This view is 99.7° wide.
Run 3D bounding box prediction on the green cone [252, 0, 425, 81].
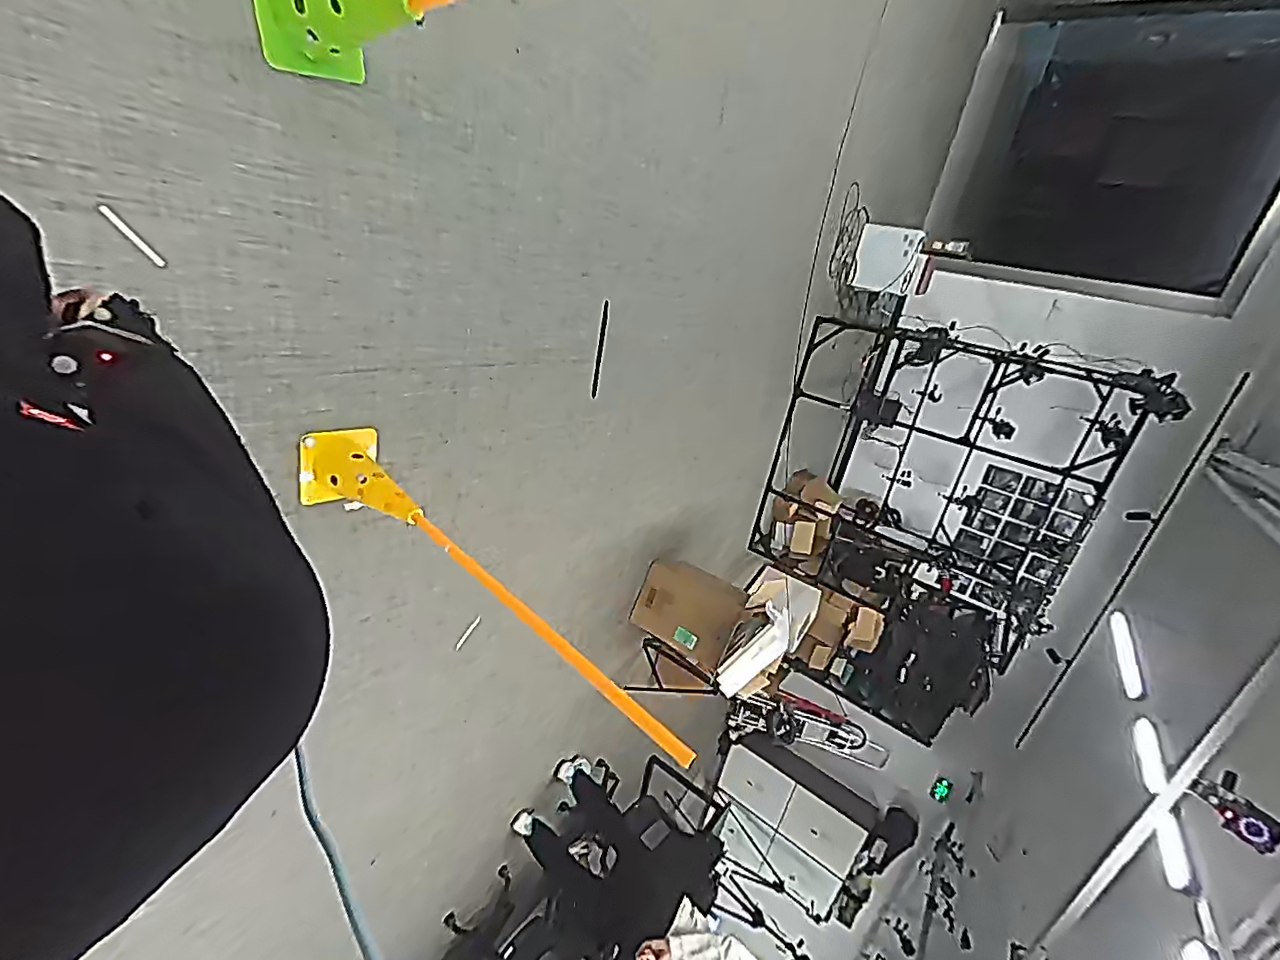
[{"bbox_3d":[-0.515,-0.849,0.975,0.200,0.368,0.202,-30,137,-45],"label":"green cone"}]
